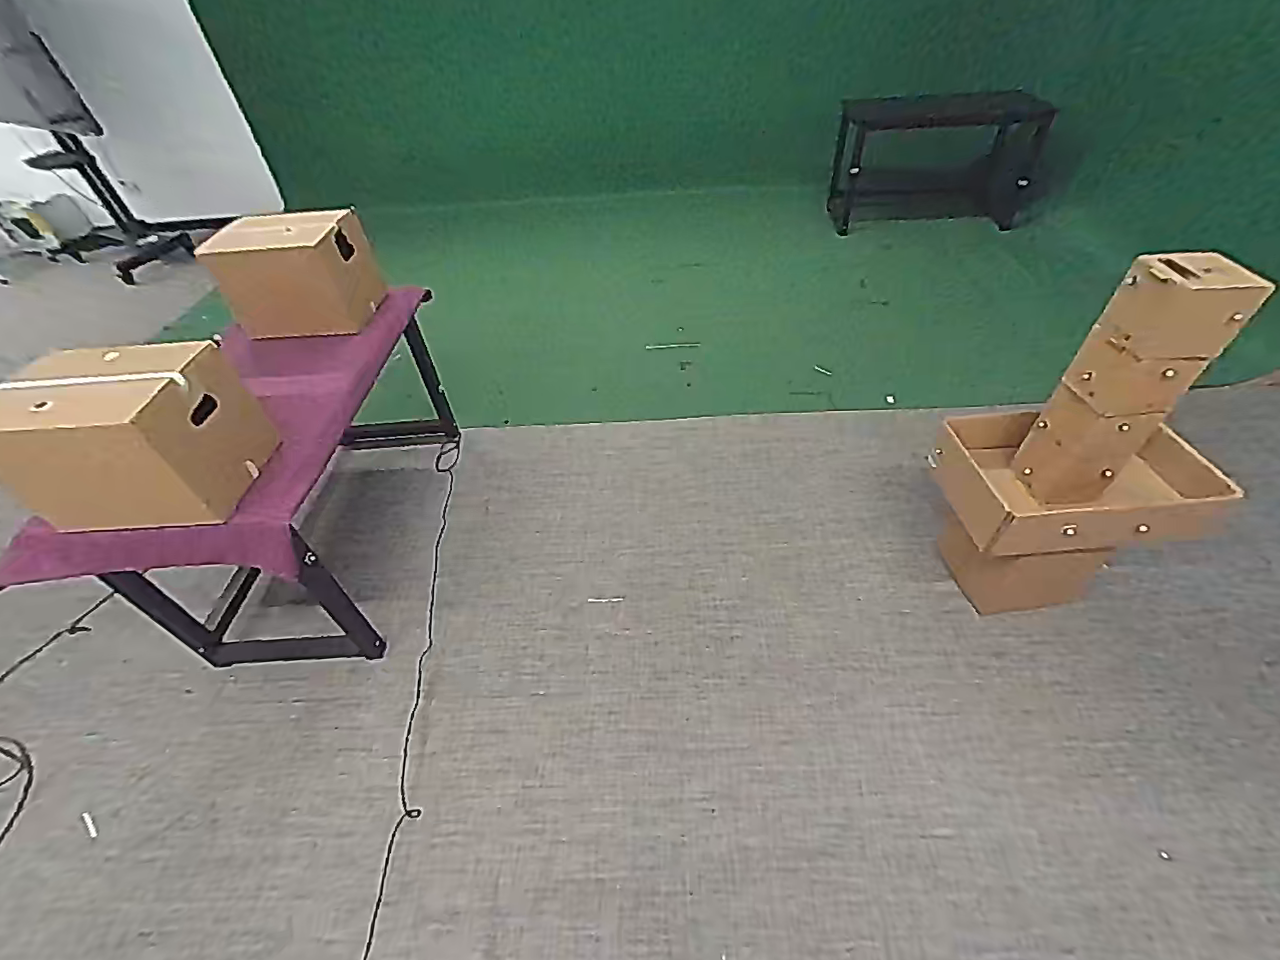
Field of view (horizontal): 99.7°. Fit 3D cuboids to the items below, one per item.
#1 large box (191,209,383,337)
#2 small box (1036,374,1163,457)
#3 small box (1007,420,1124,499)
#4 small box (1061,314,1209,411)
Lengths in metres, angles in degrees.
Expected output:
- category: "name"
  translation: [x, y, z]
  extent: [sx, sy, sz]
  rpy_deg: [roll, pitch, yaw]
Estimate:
- category: "large box"
  translation: [-1.186, -0.715, 1.870]
  extent: [0.408, 0.320, 0.320]
  rpy_deg: [-2, 46, 2]
- category: "small box"
  translation: [1.216, -0.177, 1.454]
  extent: [0.179, 0.176, 0.168]
  rpy_deg: [-4, 45, -3]
- category: "small box"
  translation: [1.221, -0.061, 1.569]
  extent: [0.179, 0.176, 0.168]
  rpy_deg: [-3, 44, -1]
- category: "small box"
  translation: [1.206, -0.288, 1.336]
  extent: [0.179, 0.176, 0.168]
  rpy_deg: [-6, 46, -2]
